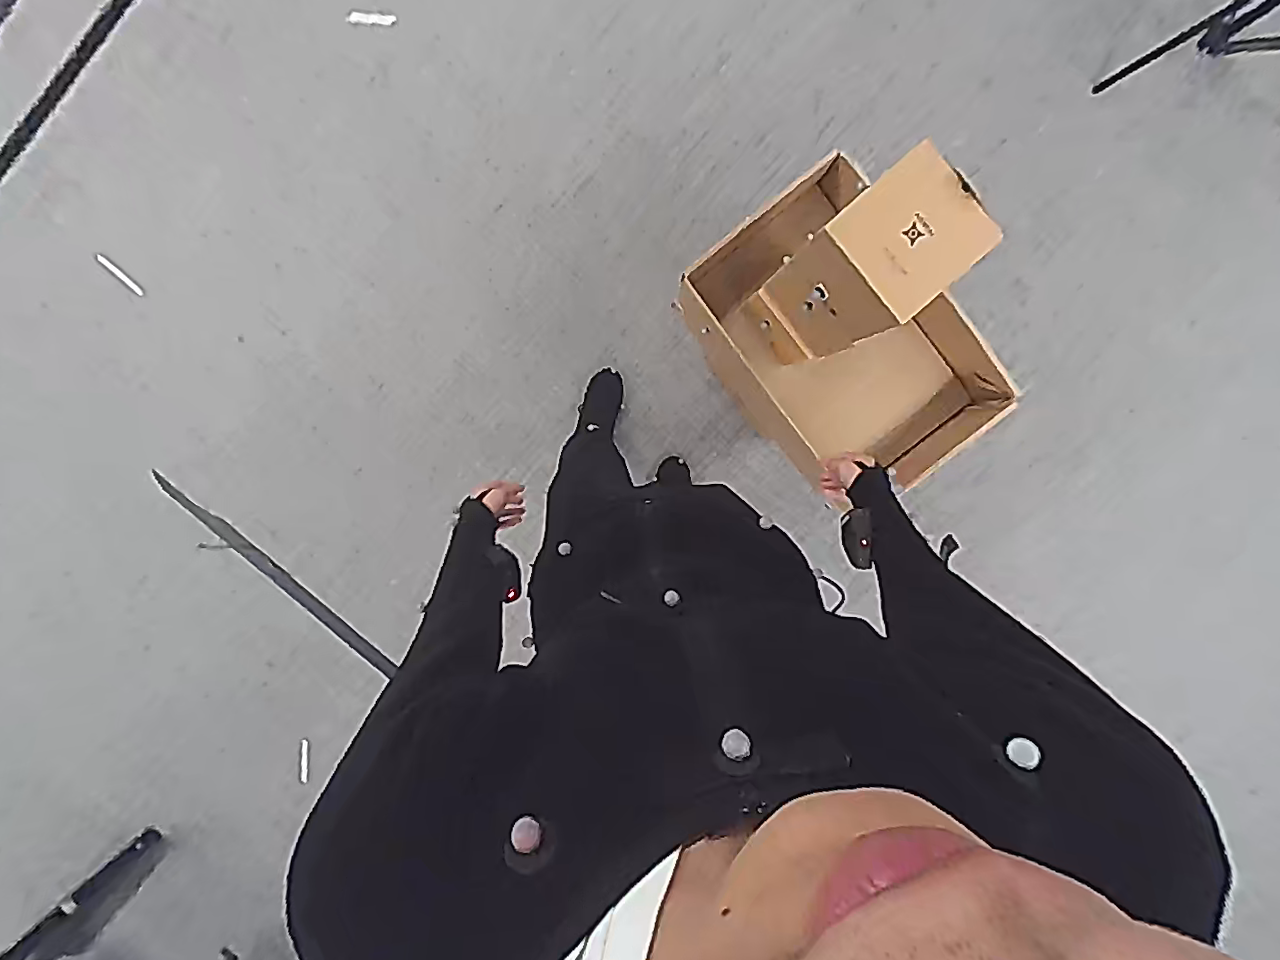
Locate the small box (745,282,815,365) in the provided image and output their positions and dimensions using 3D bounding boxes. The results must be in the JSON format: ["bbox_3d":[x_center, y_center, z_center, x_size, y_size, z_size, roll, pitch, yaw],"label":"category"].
[{"bbox_3d":[0.330,-0.351,1.091,0.179,0.176,0.168,-40,97,2],"label":"small box"}]

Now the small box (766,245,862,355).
[{"bbox_3d":[0.344,-0.335,0.928,0.168,0.176,0.179,-39,97,2],"label":"small box"}]

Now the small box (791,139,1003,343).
[{"bbox_3d":[0.345,-0.320,0.764,0.179,0.176,0.168,-41,95,2],"label":"small box"}]
